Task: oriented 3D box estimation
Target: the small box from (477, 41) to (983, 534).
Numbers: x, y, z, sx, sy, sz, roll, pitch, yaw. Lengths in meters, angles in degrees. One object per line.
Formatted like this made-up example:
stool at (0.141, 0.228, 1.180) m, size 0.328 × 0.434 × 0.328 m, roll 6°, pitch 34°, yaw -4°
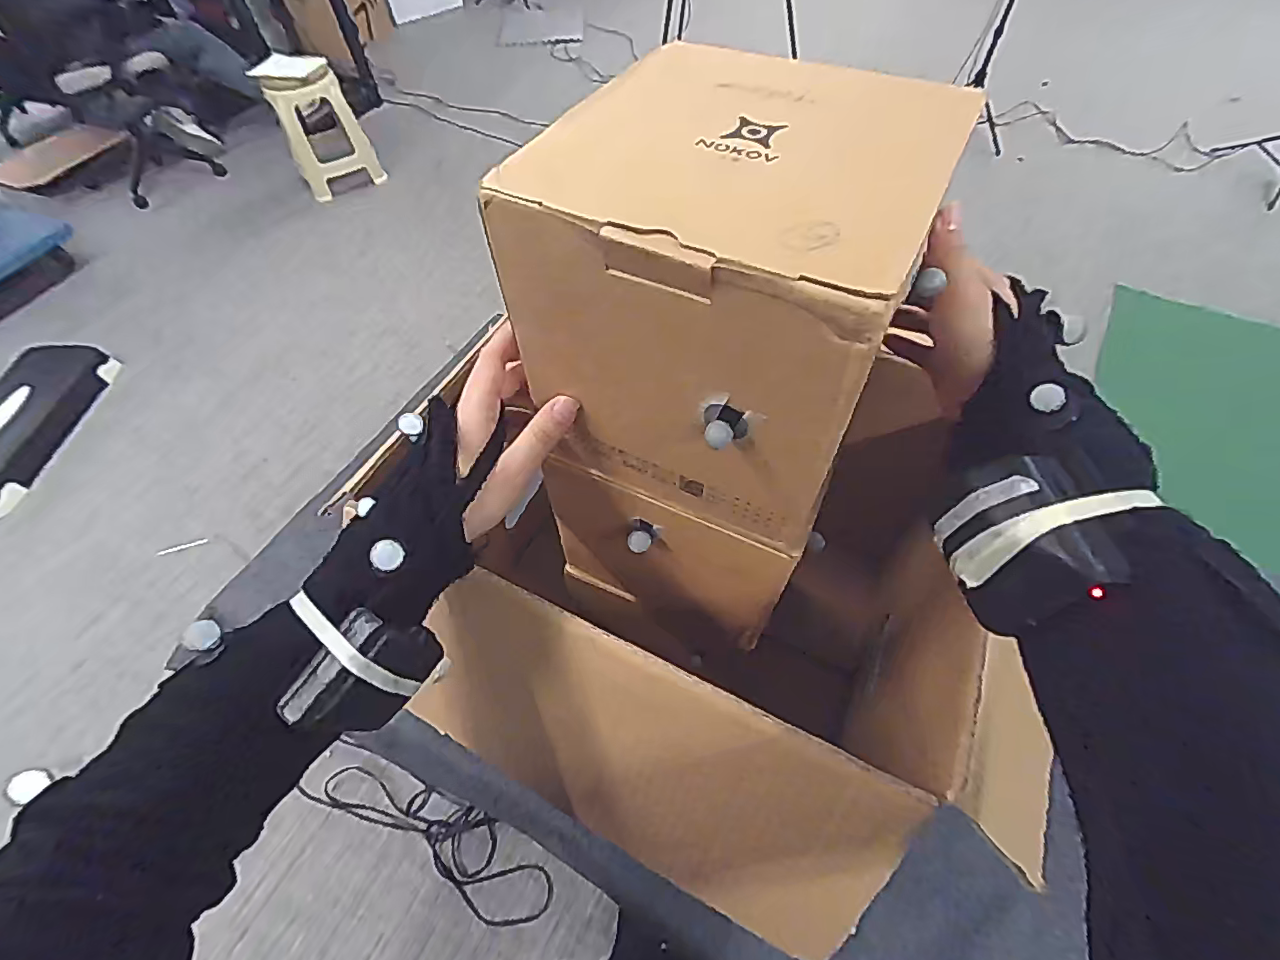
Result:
small box at (0.047, -0.100, 0.296) m, size 0.168 × 0.176 × 0.179 m, roll 24°, pitch 59°, yaw 16°

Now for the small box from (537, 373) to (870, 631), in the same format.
small box at (0.049, -0.002, 0.425) m, size 0.179 × 0.176 × 0.168 m, roll 22°, pitch 59°, yaw 16°
